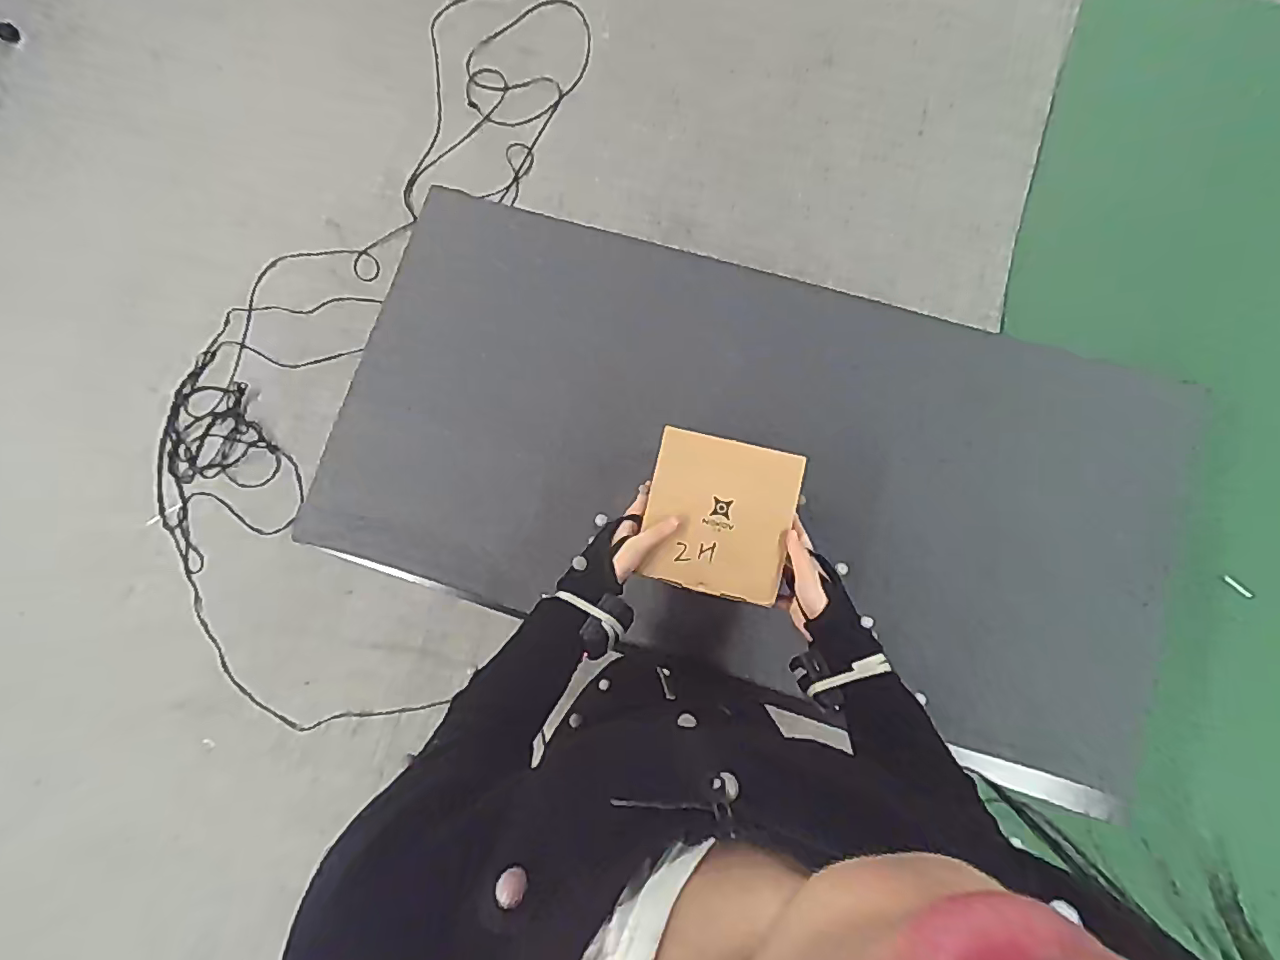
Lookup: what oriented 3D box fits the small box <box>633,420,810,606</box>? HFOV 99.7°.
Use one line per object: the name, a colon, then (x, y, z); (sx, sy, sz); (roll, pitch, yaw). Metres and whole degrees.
small box: (0.094, 0.043, 0.671); (0.168, 0.176, 0.179); (13, 84, 5)
